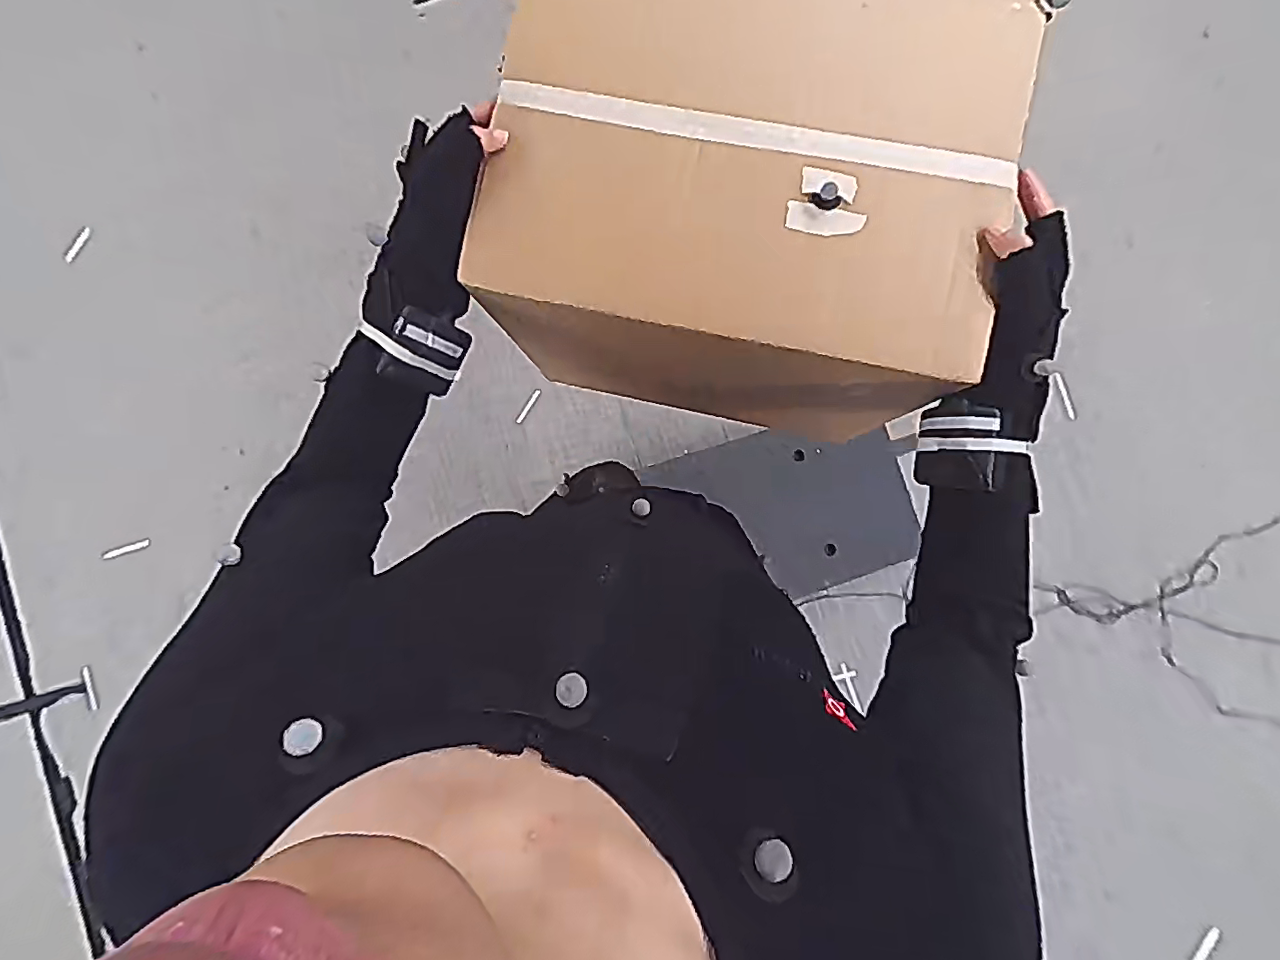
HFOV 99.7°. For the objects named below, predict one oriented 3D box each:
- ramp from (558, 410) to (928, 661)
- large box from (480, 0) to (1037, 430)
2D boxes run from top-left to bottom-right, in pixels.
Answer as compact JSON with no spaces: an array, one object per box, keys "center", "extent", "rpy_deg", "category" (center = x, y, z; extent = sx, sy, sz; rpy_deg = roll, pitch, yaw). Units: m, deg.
[{"center":[0.311,0.112,1.548],"extent":[0.991,0.206,0.509],"rpy_deg":[-20,86,2],"category":"ramp"},{"center":[0.099,-0.263,0.581],"extent":[0.408,0.320,0.320],"rpy_deg":[13,87,4],"category":"large box"}]
